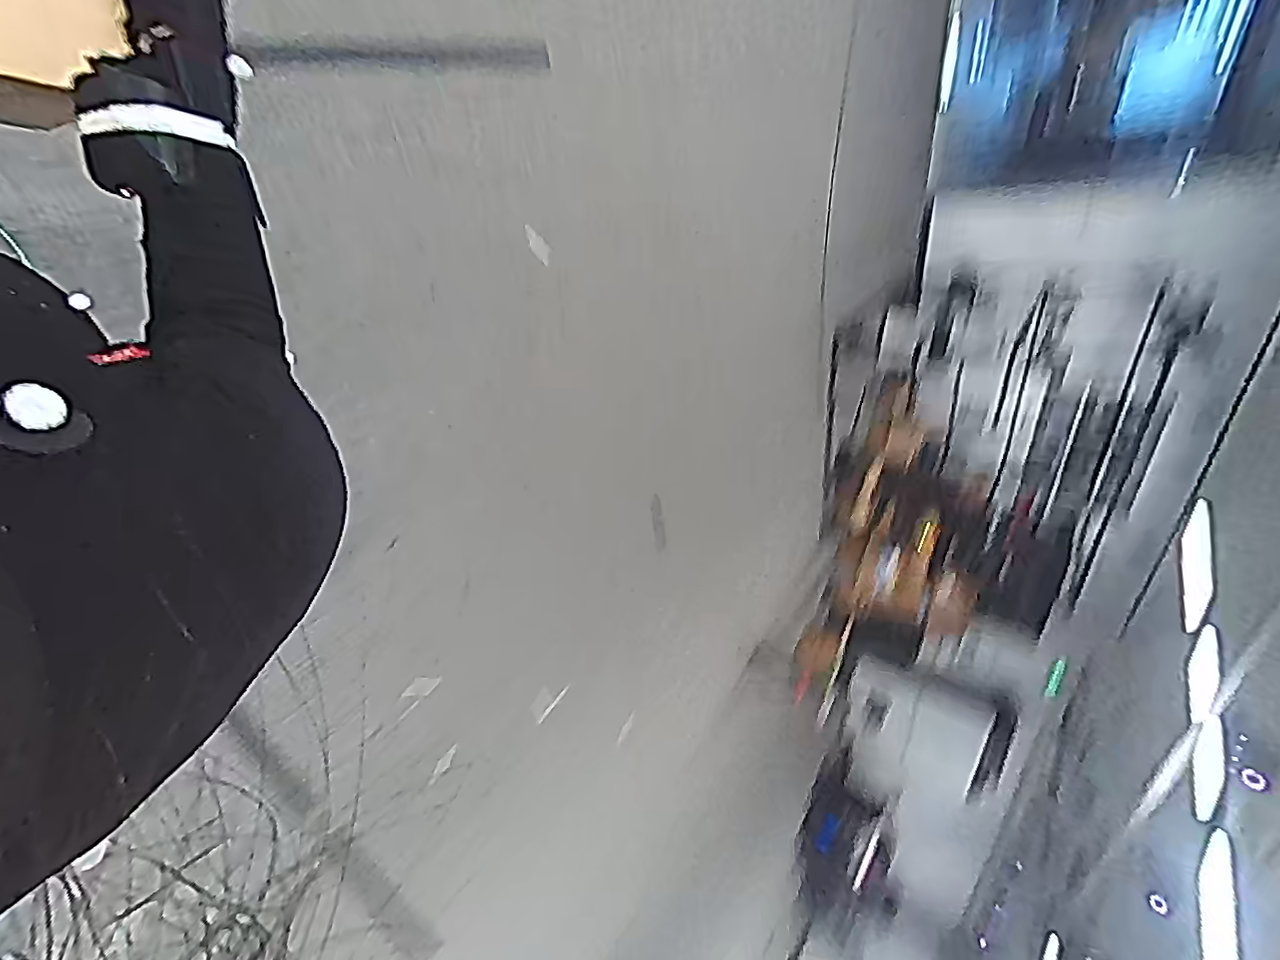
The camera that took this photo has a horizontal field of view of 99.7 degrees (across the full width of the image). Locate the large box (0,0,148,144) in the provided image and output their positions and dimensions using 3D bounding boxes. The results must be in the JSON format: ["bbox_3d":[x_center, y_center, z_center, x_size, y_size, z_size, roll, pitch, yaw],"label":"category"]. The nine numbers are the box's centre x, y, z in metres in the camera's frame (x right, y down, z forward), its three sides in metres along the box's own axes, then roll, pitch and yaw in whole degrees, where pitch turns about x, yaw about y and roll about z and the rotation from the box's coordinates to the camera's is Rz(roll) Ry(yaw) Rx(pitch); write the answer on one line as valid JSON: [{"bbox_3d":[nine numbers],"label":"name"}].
[{"bbox_3d":[-0.570,-0.389,0.257,0.408,0.320,0.320,-20,124,-51],"label":"large box"}]
